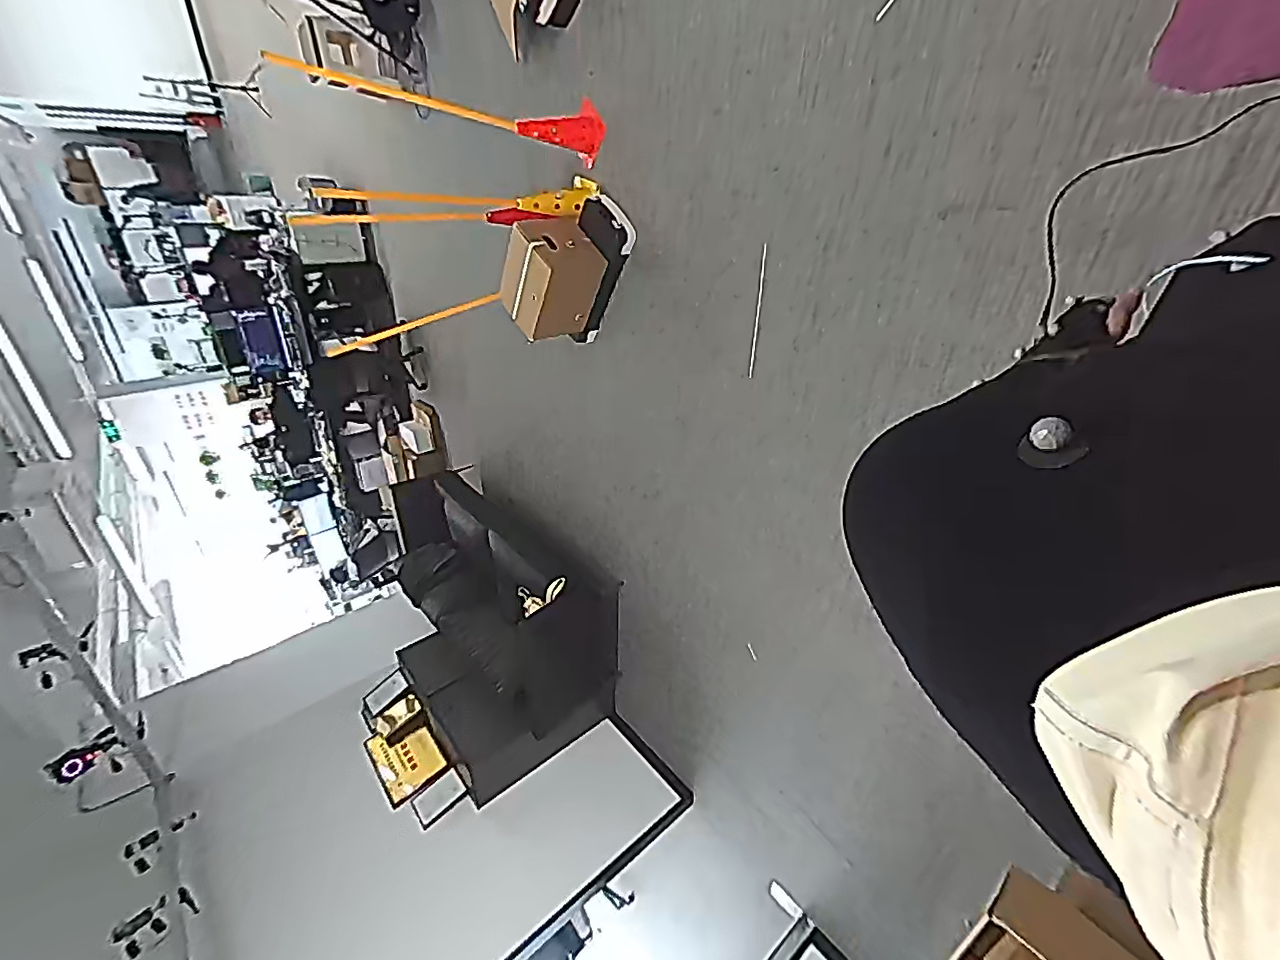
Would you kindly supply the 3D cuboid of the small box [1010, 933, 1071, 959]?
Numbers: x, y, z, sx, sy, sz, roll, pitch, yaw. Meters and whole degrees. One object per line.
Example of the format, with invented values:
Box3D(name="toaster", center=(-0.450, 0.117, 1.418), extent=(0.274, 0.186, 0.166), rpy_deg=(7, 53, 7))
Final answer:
Box3D(name="small box", center=(1.014, 1.297, 1.346), extent=(0.168, 0.176, 0.179), rpy_deg=(34, 131, 40))
